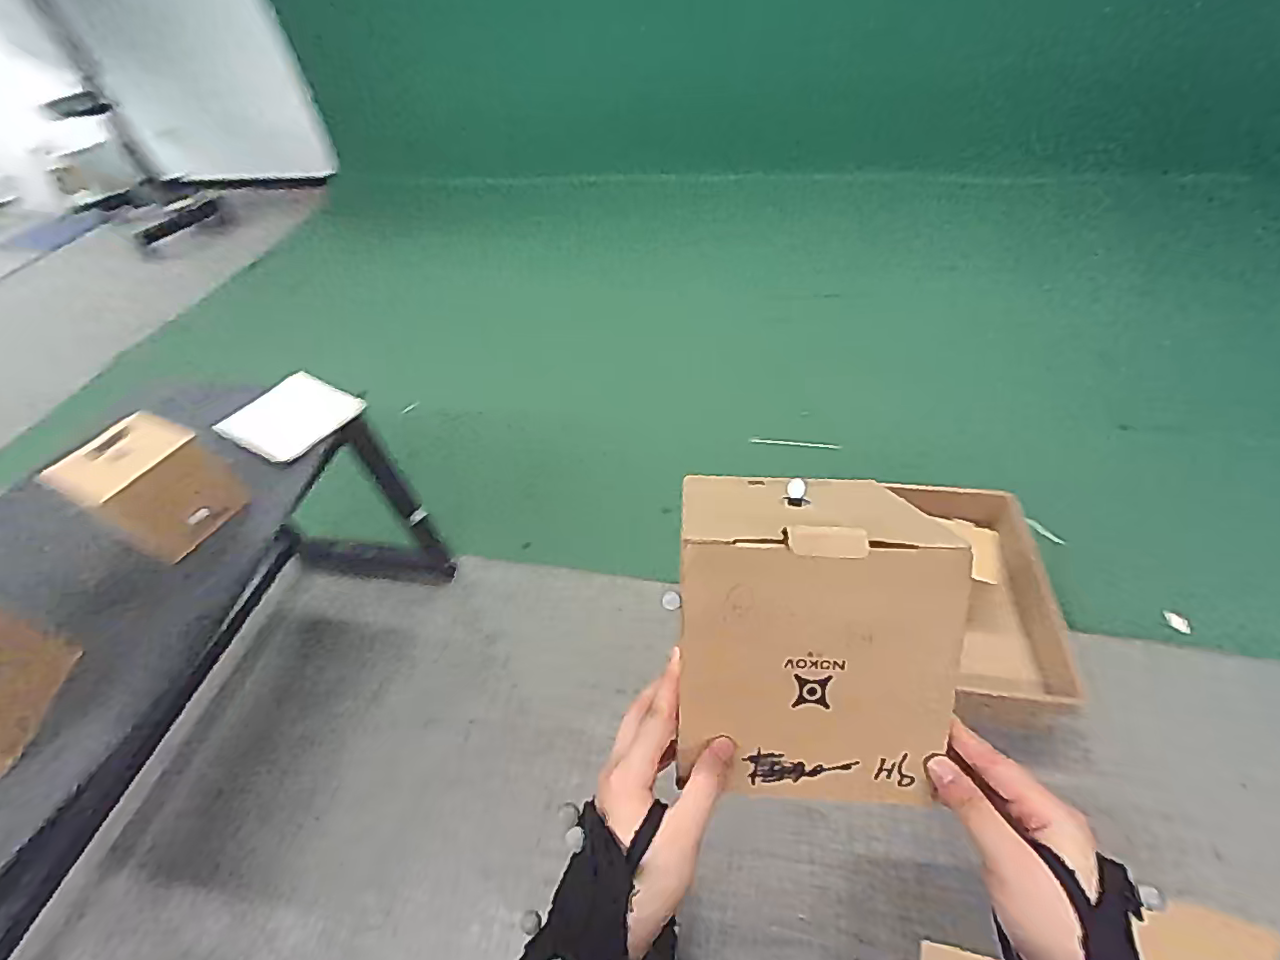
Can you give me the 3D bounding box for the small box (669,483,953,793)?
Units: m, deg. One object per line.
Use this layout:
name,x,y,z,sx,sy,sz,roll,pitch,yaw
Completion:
small box,0.107,0.102,0.418,0.168,0.179,0.176,1,14,3

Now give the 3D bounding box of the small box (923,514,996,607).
small box,0.868,0.229,1.511,0.168,0.176,0.179,16,53,17

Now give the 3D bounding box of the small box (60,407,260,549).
small box,-0.852,-0.001,0.976,0.179,0.176,0.168,18,54,20
